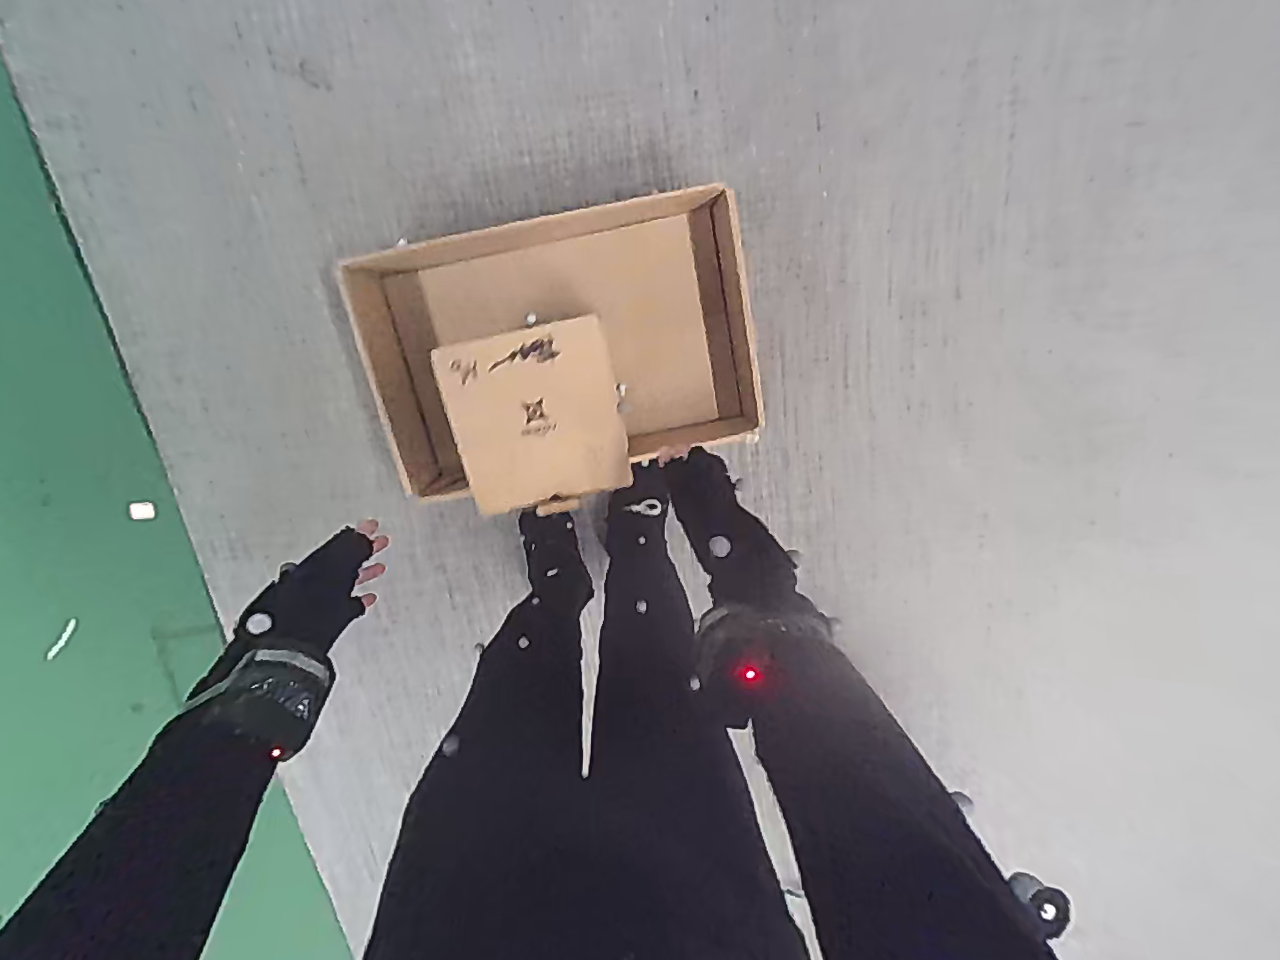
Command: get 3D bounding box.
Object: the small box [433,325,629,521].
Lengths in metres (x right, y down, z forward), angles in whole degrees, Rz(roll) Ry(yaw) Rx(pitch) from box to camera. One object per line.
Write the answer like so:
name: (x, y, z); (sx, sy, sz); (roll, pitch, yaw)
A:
small box: (-0.109, -0.076, 0.625); (0.168, 0.176, 0.179); (-13, 106, 1)
